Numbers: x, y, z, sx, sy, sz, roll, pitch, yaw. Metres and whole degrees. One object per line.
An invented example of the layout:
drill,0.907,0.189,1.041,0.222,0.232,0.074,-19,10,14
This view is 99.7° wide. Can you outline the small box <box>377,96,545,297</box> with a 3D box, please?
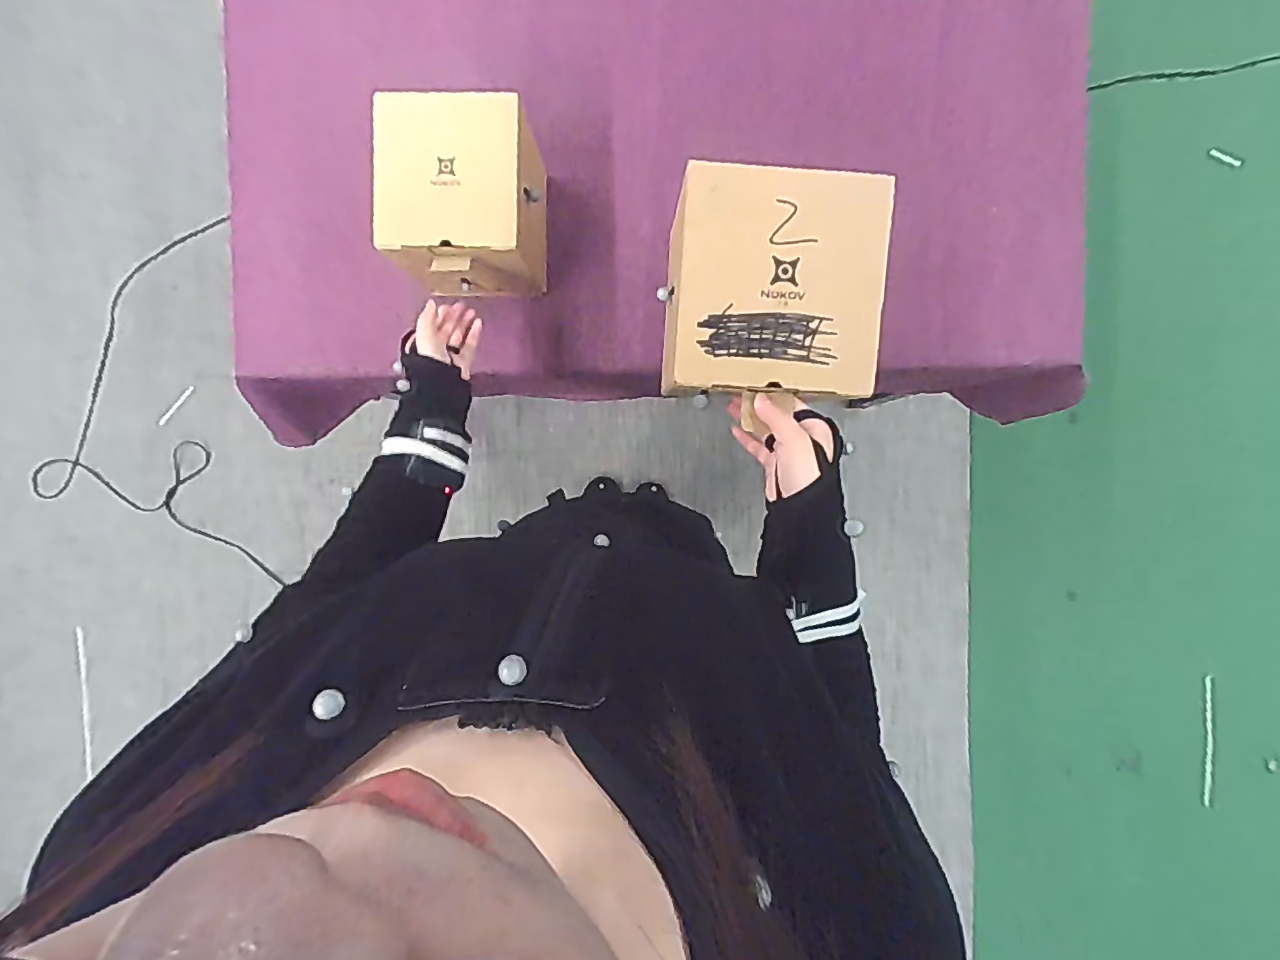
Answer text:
small box,-0.220,-0.355,0.705,0.168,0.176,0.179,1,92,0
